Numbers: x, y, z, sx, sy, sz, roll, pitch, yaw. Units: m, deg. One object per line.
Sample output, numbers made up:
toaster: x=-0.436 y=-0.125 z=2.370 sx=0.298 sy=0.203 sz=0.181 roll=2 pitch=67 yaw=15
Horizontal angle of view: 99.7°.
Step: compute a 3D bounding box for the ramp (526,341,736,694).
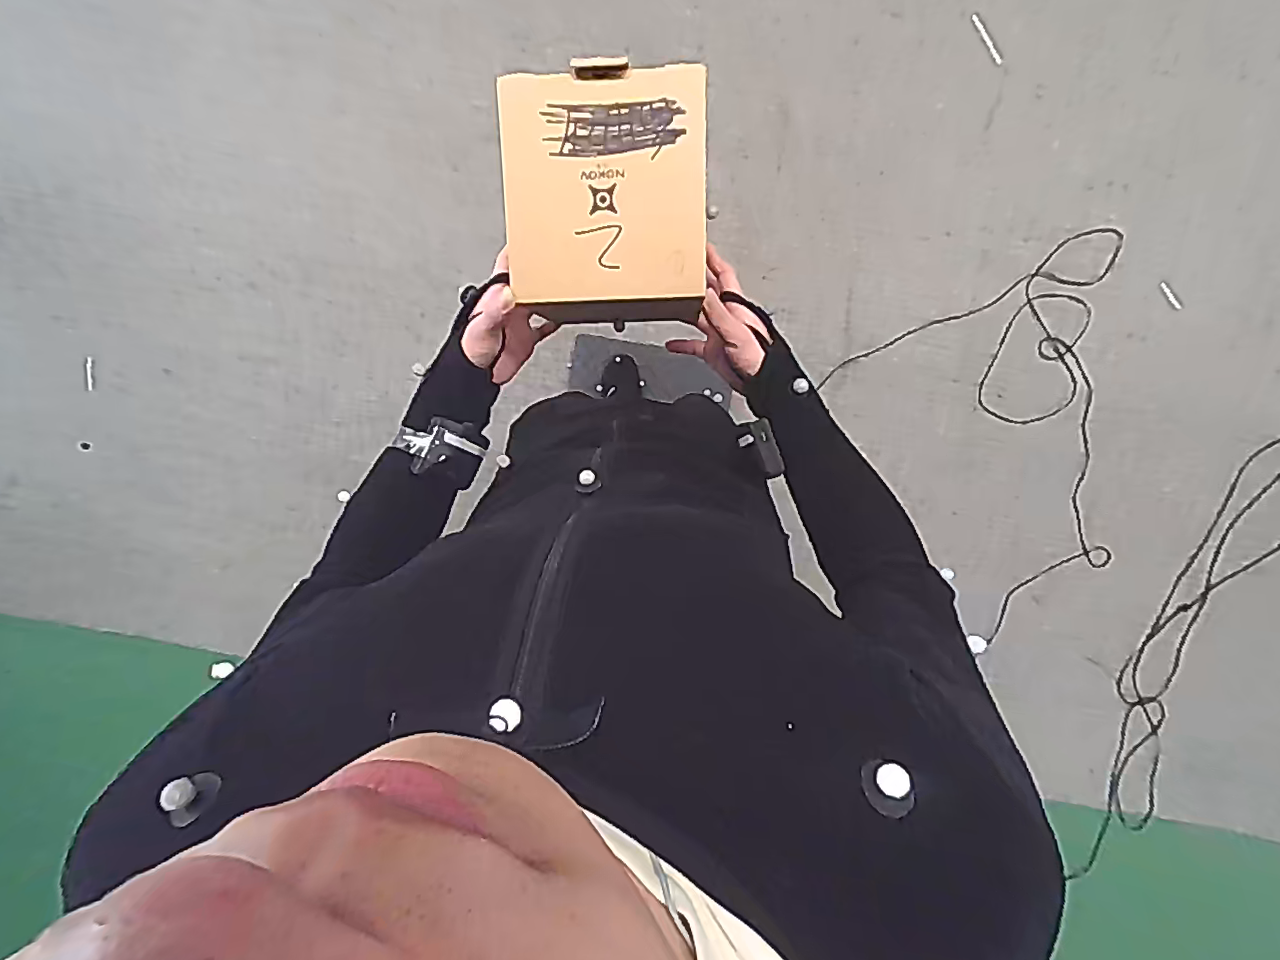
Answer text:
ramp: x=-0.030 y=0.111 z=1.615 sx=0.509 sy=0.206 sz=0.991 roll=8 pitch=100 yaw=1
